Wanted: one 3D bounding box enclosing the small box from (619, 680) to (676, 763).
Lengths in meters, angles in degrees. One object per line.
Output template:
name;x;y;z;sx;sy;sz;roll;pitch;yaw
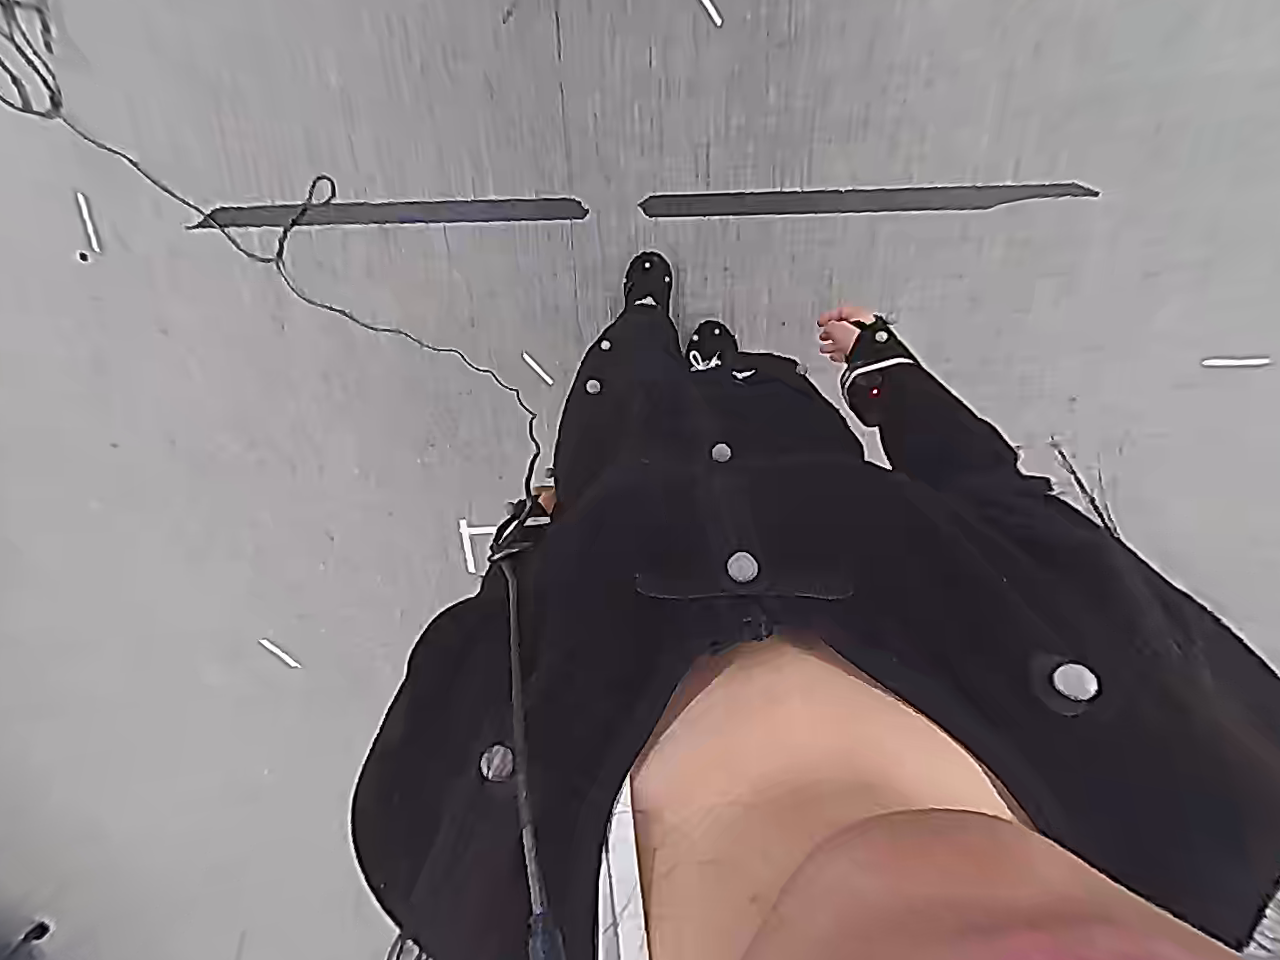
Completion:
small box;0.027;0.740;1.671;0.168;0.176;0.179;-1;108;6
